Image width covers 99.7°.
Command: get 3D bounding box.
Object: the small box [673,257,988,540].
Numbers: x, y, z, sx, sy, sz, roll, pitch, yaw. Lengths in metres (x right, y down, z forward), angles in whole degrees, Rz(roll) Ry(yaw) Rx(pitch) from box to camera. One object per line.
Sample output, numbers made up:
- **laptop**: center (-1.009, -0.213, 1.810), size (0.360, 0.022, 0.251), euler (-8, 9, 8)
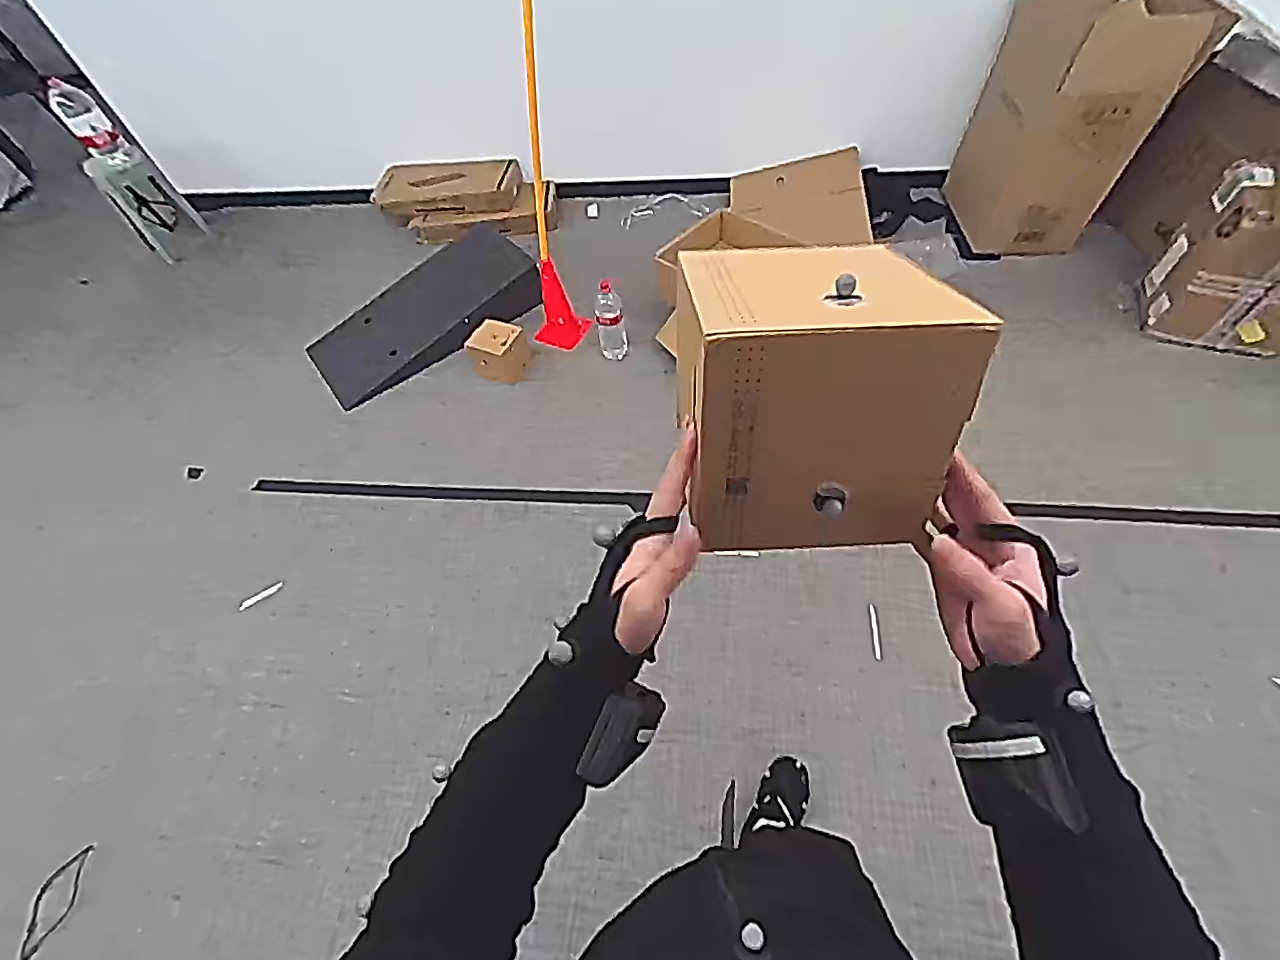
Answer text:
- **small box**: center (0.117, -0.066, 0.422), size (0.176, 0.168, 0.179), euler (-2, 36, -2)
